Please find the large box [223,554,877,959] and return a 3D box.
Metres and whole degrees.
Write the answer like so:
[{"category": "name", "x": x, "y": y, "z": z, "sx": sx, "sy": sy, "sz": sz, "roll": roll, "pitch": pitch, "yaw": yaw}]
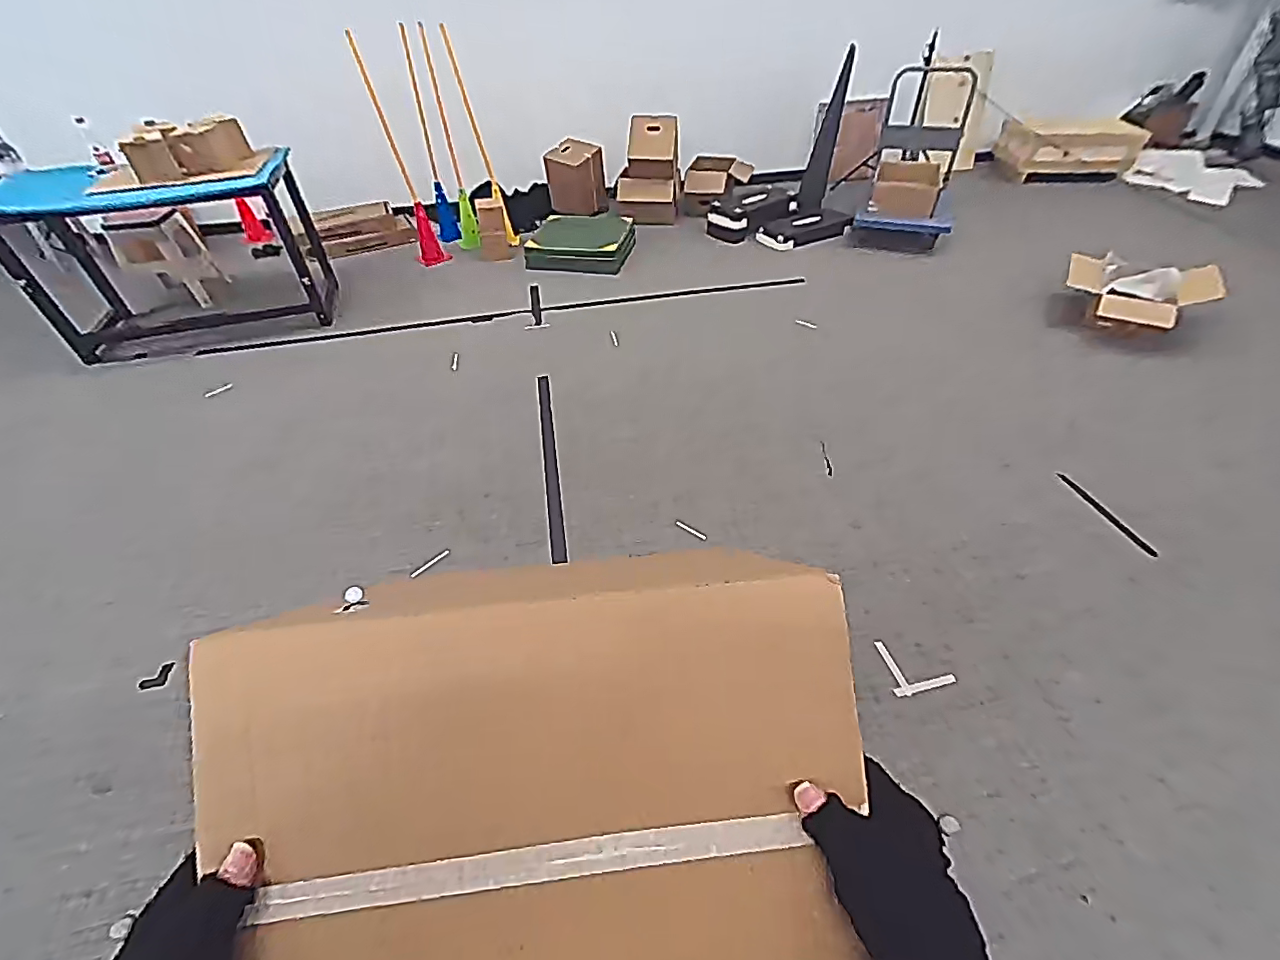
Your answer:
[{"category": "large box", "x": -0.062, "y": 0.246, "z": 0.491, "sx": 0.408, "sy": 0.320, "sz": 0.320, "roll": -5, "pitch": 87, "yaw": -3}]
